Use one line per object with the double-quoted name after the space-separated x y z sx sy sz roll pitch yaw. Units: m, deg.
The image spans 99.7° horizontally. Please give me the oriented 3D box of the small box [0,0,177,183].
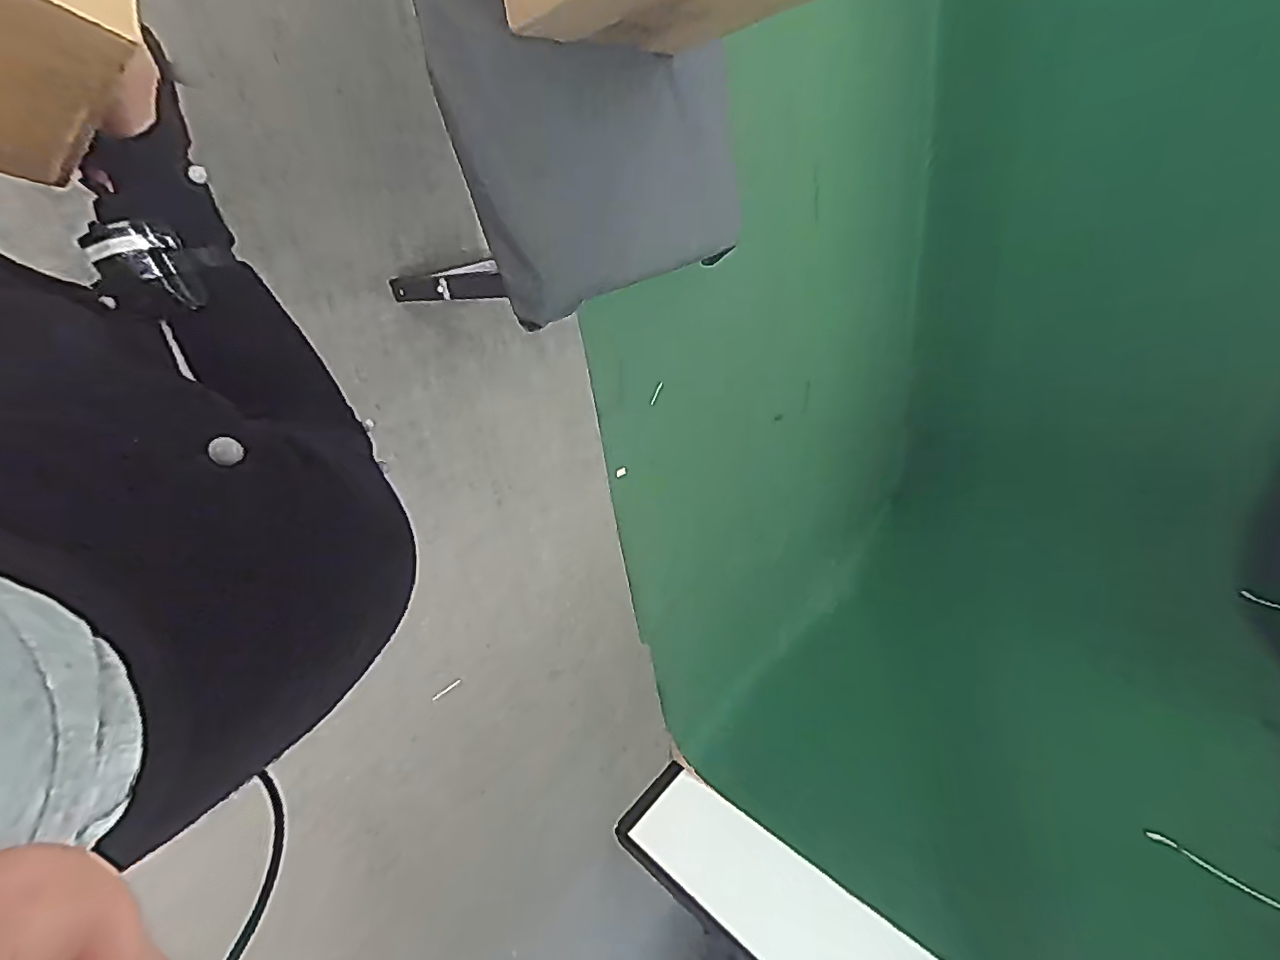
-0.354 -0.271 0.242 0.179 0.176 0.168 -8 87 -56 "small box"
